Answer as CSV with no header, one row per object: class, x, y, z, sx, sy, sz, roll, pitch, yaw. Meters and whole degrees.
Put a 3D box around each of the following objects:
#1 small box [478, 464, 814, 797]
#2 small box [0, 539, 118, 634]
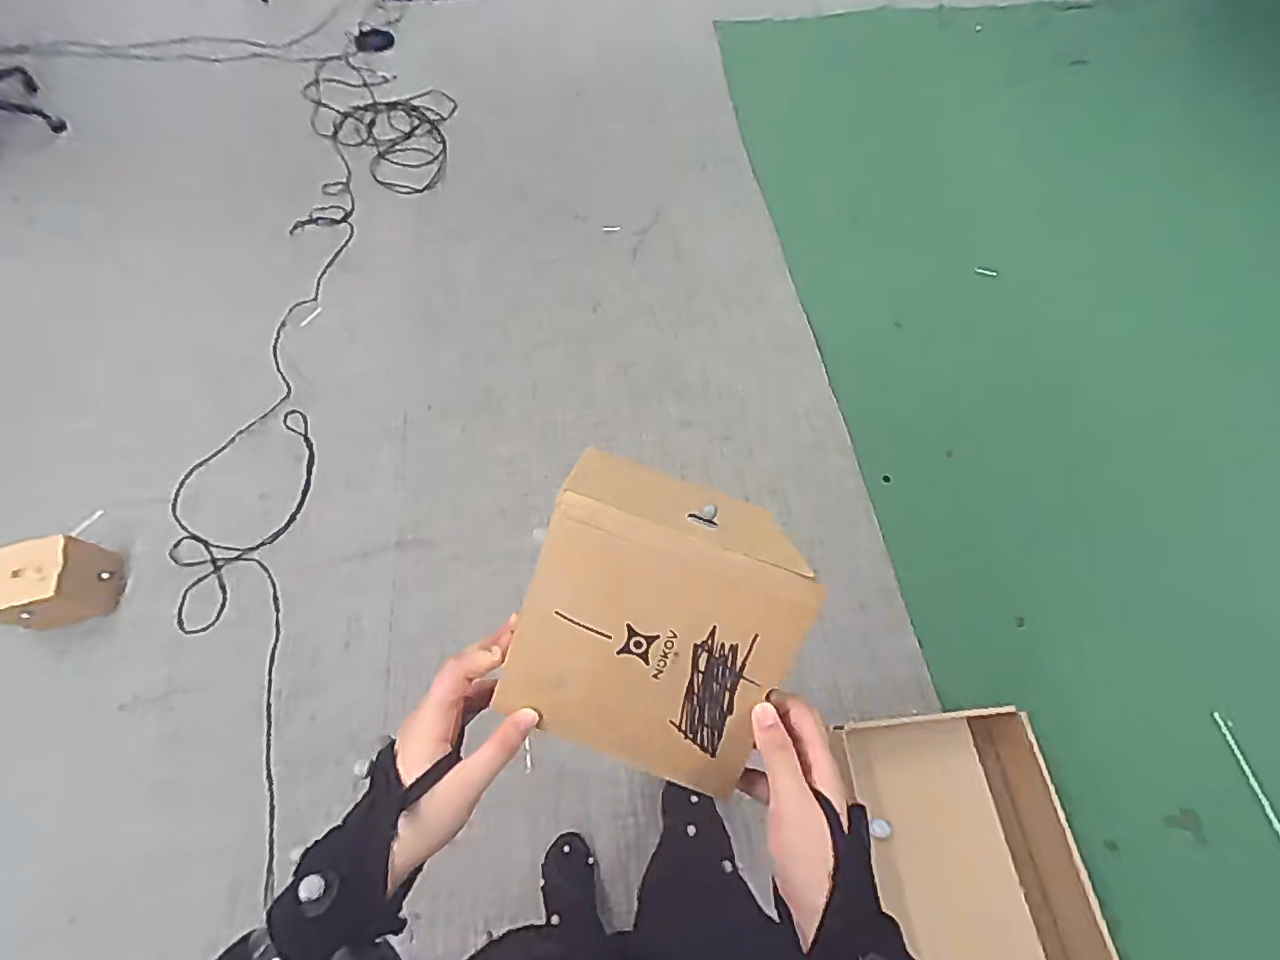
small box,0.001,0.098,0.424,0.179,0.176,0.168,20,101,-4
small box,-1.470,0.269,1.342,0.179,0.176,0.168,-14,65,-8
